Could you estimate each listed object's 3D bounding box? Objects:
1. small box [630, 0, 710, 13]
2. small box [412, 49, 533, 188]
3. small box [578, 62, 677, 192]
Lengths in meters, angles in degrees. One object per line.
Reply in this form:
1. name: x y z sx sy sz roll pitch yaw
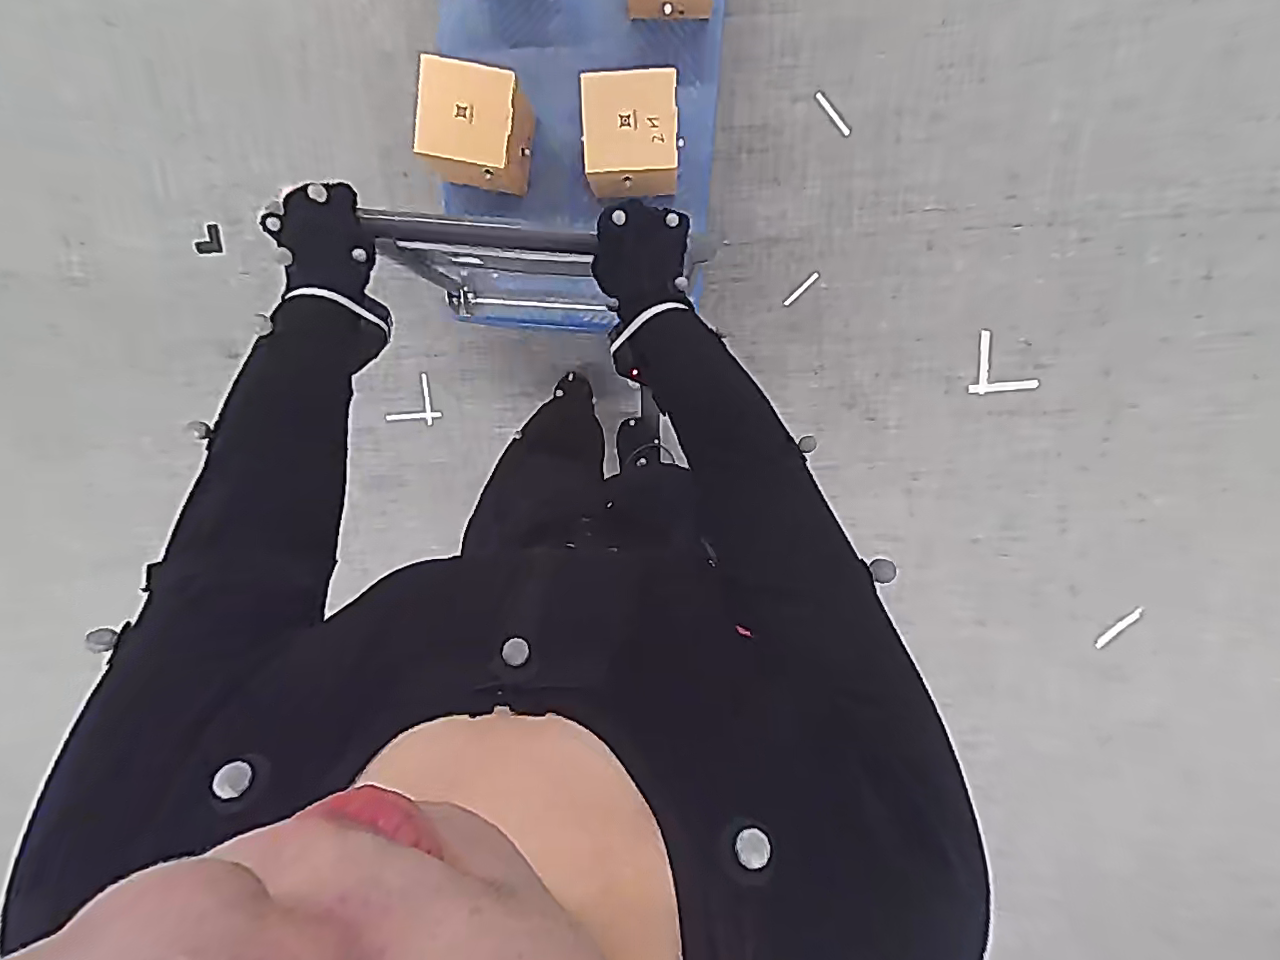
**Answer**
1. small box: 0.056 -0.997 0.976 0.168 0.176 0.179 1 104 2
2. small box: -0.321 -0.695 1.061 0.179 0.176 0.168 9 103 -2
3. small box: -0.018 -0.676 1.055 0.179 0.176 0.168 -2 103 2
